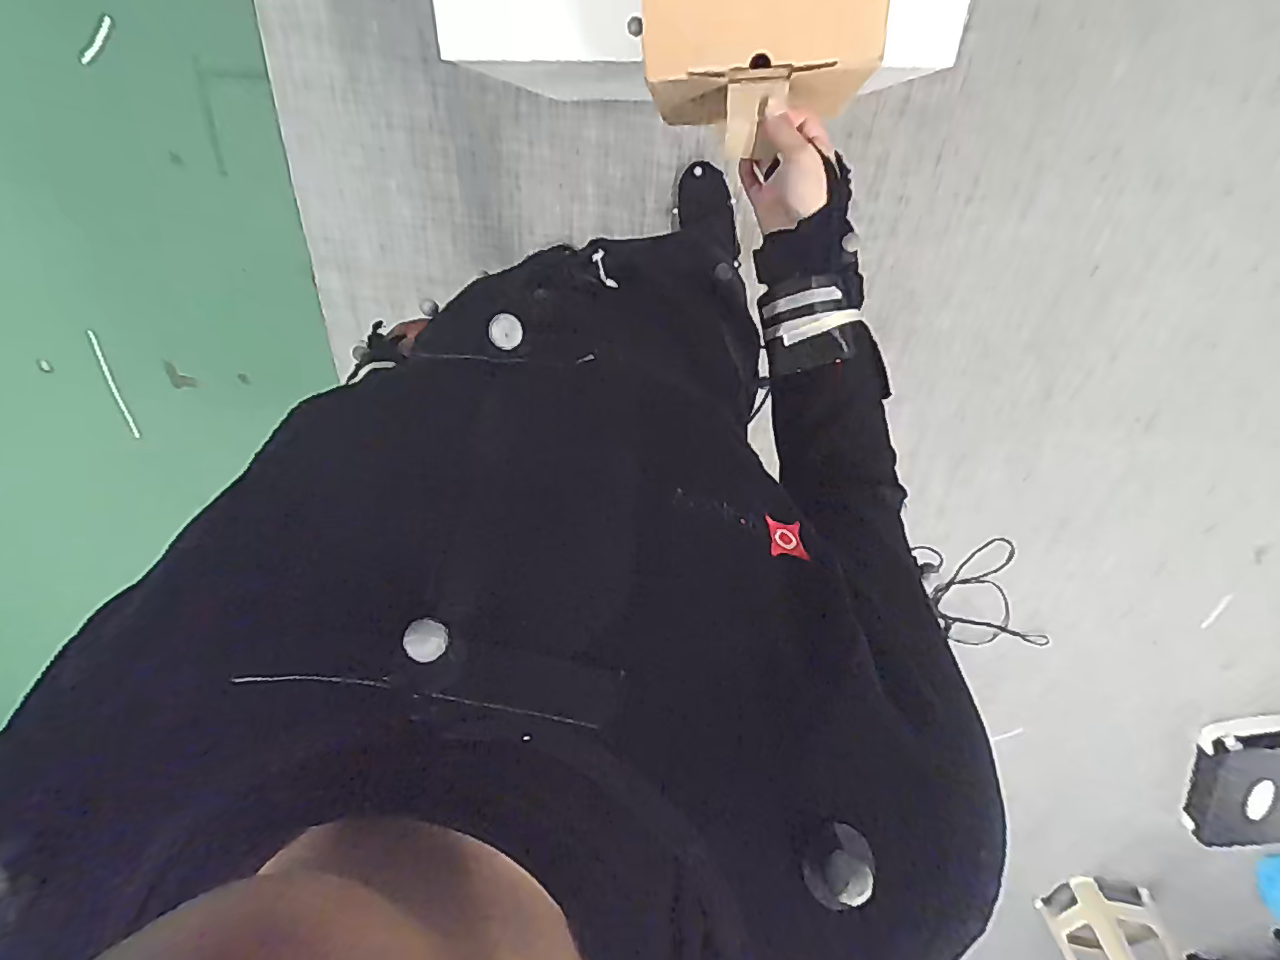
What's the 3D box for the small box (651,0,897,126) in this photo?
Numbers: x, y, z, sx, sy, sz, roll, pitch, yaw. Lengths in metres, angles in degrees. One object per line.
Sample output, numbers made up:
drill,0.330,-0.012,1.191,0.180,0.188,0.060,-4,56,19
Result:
small box,0.097,-0.394,0.417,0.168,0.176,0.179,2,115,8
